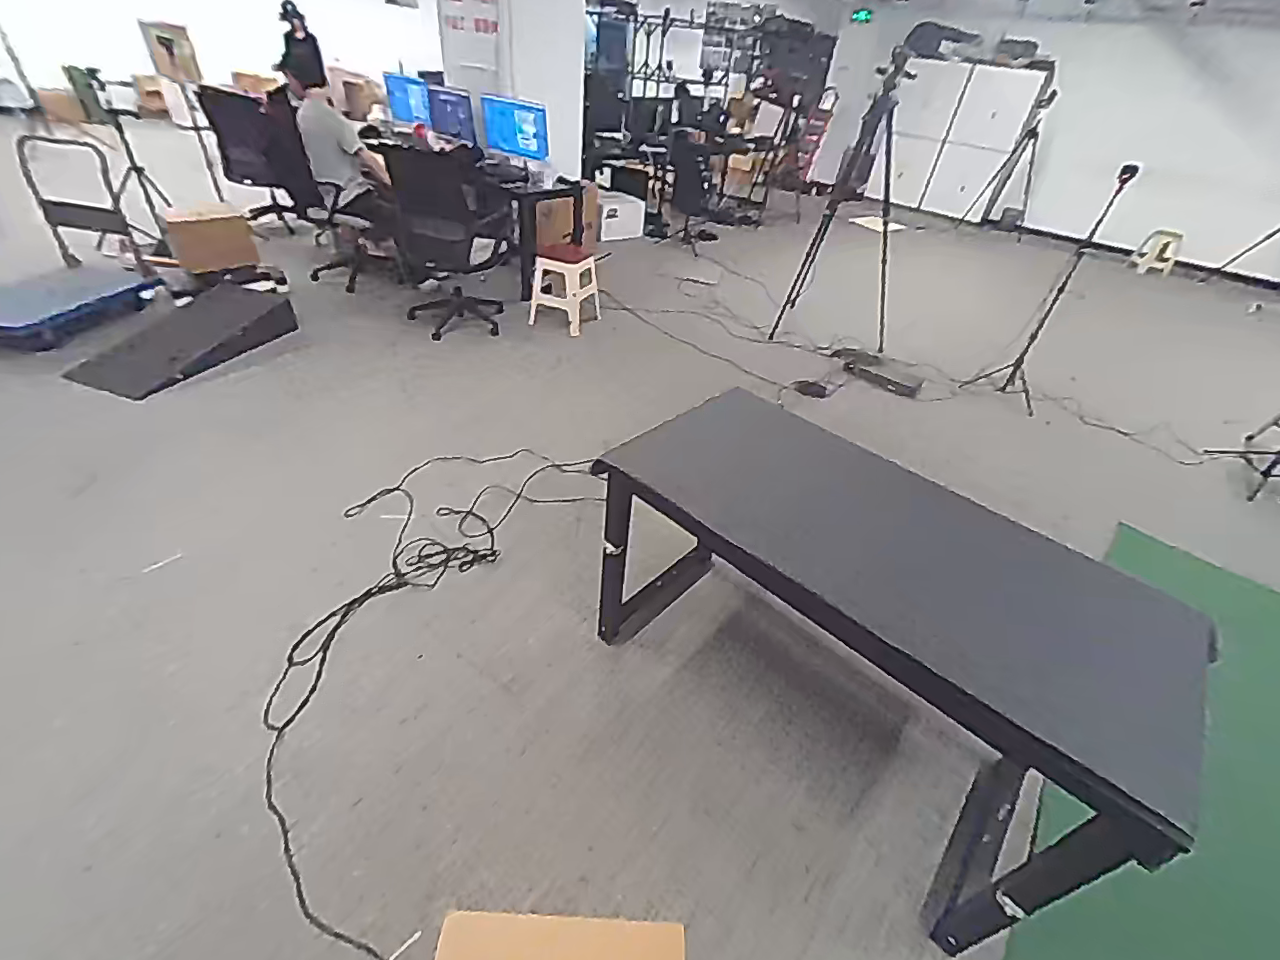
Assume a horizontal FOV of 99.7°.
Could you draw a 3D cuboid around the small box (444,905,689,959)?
[{"bbox_3d":[-0.055,0.420,0.364,0.168,0.176,0.179,2,41,1],"label":"small box"}]
